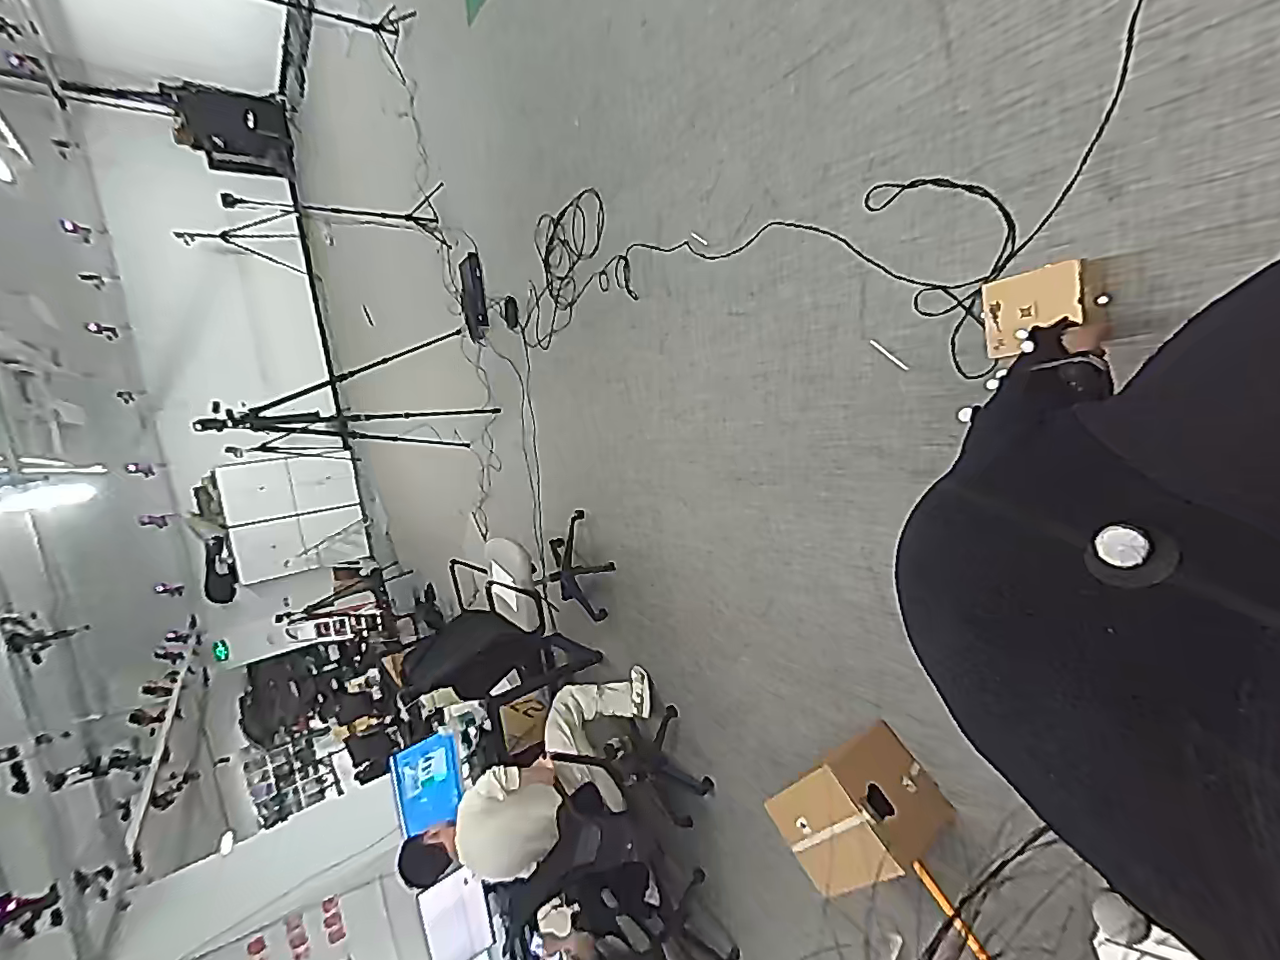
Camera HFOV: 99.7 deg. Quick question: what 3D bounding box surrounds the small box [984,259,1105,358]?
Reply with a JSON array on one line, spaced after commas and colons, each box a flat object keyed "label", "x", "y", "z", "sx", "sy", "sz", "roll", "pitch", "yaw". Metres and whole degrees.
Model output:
[{"label": "small box", "x": 0.879, "y": -0.367, "z": 1.171, "sx": 0.179, "sy": 0.176, "sz": 0.168, "roll": -2, "pitch": 99, "yaw": 53}]
